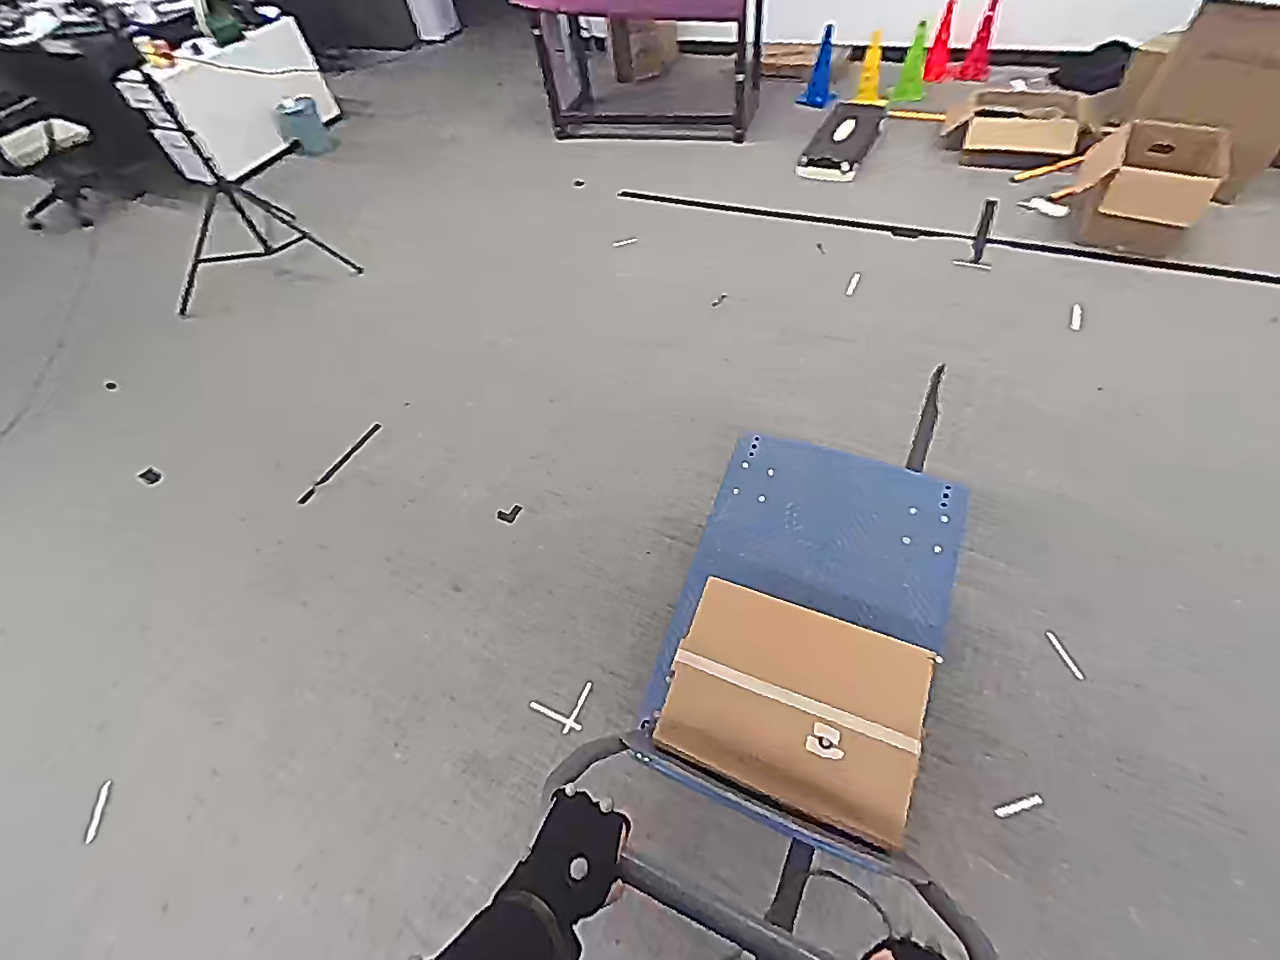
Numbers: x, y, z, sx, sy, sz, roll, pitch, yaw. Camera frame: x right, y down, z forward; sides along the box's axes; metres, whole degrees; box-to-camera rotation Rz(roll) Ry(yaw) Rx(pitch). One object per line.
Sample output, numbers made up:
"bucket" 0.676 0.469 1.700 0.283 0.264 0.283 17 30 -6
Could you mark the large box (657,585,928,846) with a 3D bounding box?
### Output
"large box" 0.283 0.443 1.064 0.408 0.320 0.320 16 69 17
